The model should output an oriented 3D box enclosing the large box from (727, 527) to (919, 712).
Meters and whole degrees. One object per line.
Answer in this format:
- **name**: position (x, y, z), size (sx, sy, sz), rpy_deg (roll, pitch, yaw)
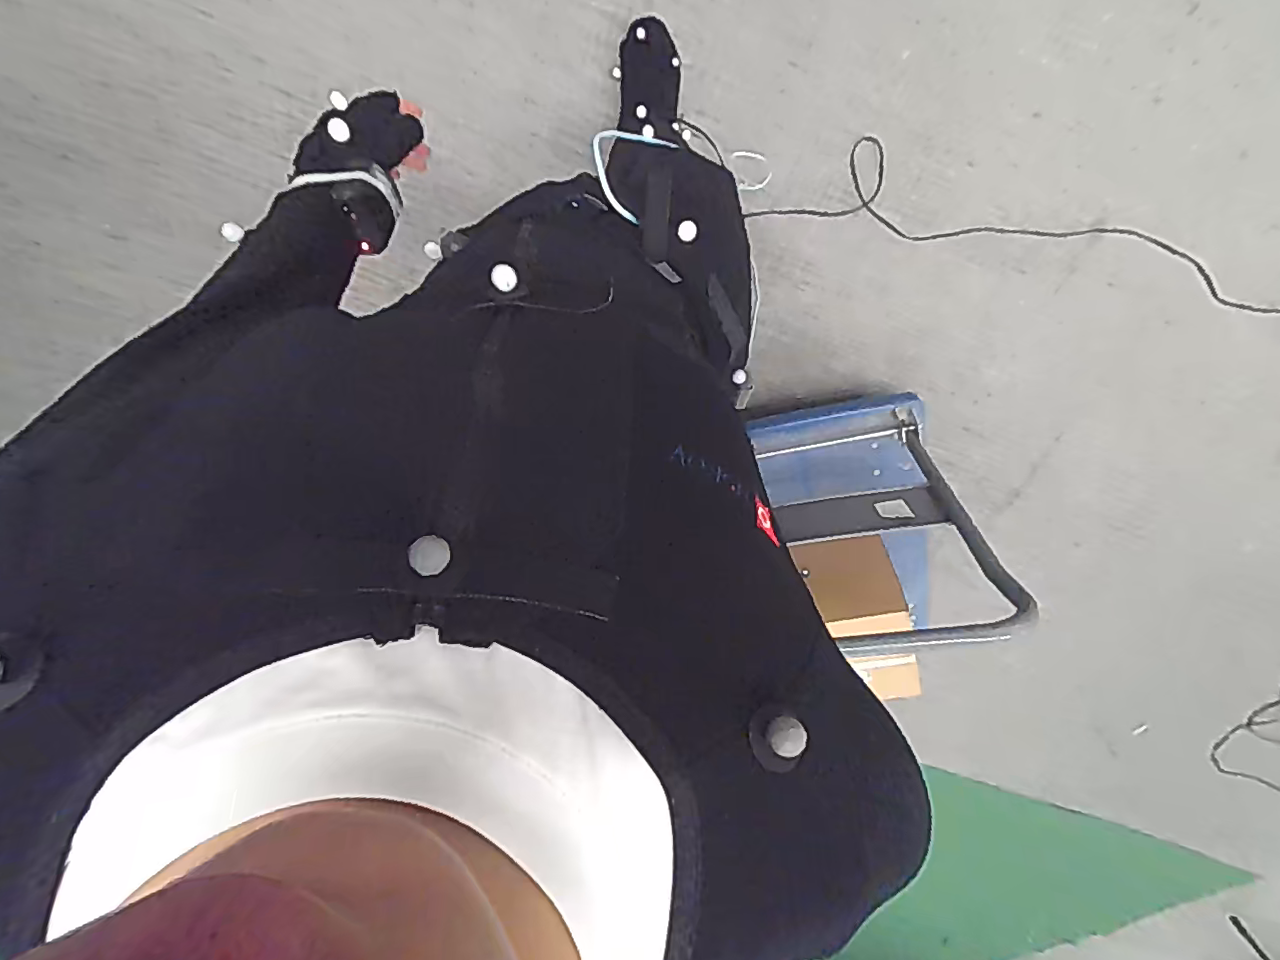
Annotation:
- **large box**: position (0.471, 0.372, 1.449), size (0.408, 0.320, 0.320), rpy_deg (-14, 121, 15)
